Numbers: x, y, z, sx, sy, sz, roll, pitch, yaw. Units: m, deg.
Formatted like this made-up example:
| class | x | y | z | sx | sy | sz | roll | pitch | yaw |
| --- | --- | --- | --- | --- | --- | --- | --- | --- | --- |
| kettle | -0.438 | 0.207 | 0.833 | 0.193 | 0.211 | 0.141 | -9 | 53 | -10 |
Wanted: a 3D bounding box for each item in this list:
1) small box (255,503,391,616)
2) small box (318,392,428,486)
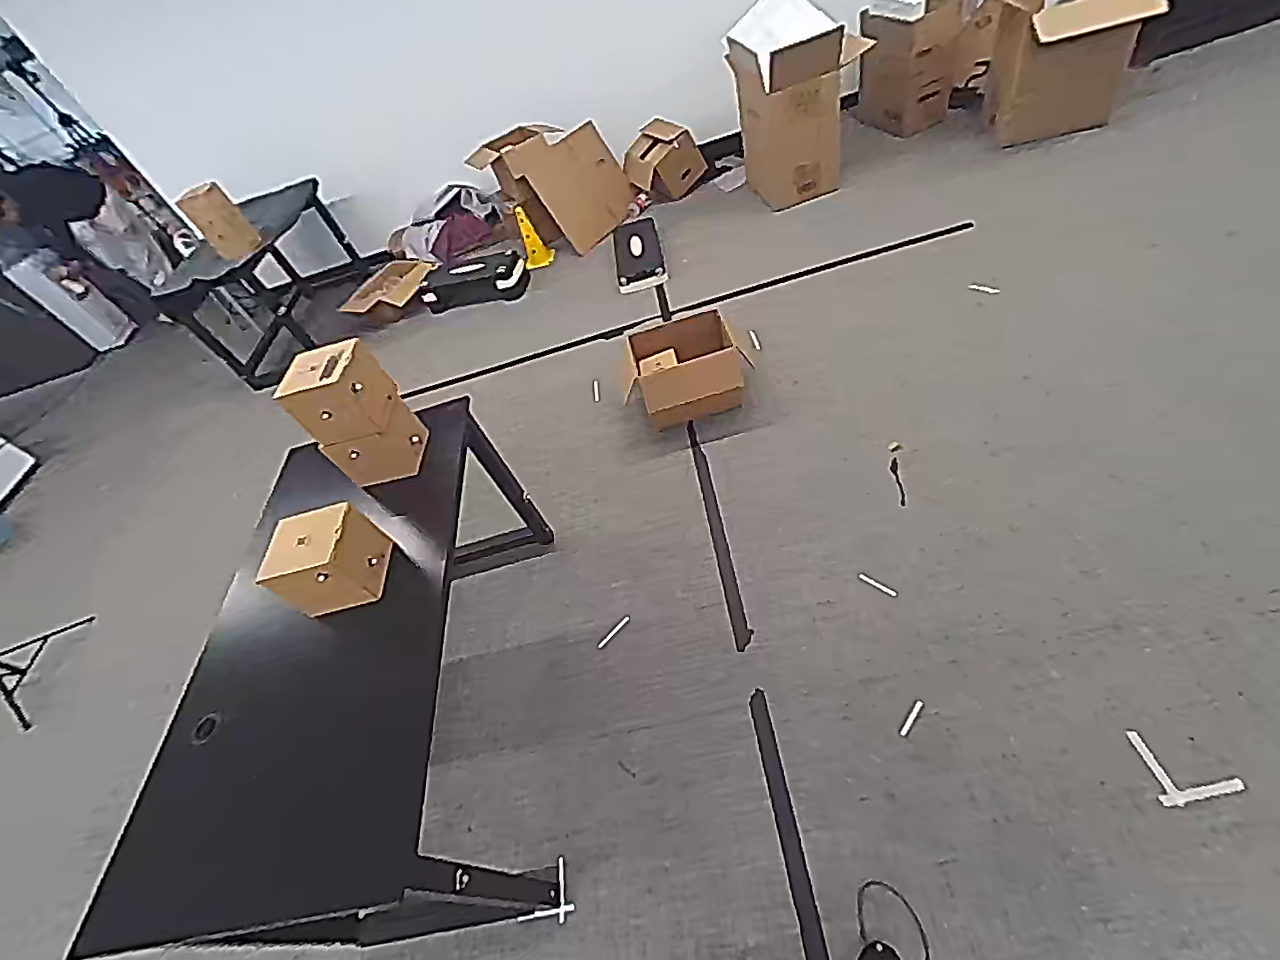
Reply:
| class | x | y | z | sx | sy | sz | roll | pitch | yaw |
| --- | --- | --- | --- | --- | --- | --- | --- | --- | --- |
| small box | -0.694 | 0.182 | 1.206 | 0.179 | 0.176 | 0.168 | -15 | 48 | 6 |
| small box | -0.703 | -0.103 | 1.444 | 0.179 | 0.176 | 0.168 | -12 | 50 | 10 |
